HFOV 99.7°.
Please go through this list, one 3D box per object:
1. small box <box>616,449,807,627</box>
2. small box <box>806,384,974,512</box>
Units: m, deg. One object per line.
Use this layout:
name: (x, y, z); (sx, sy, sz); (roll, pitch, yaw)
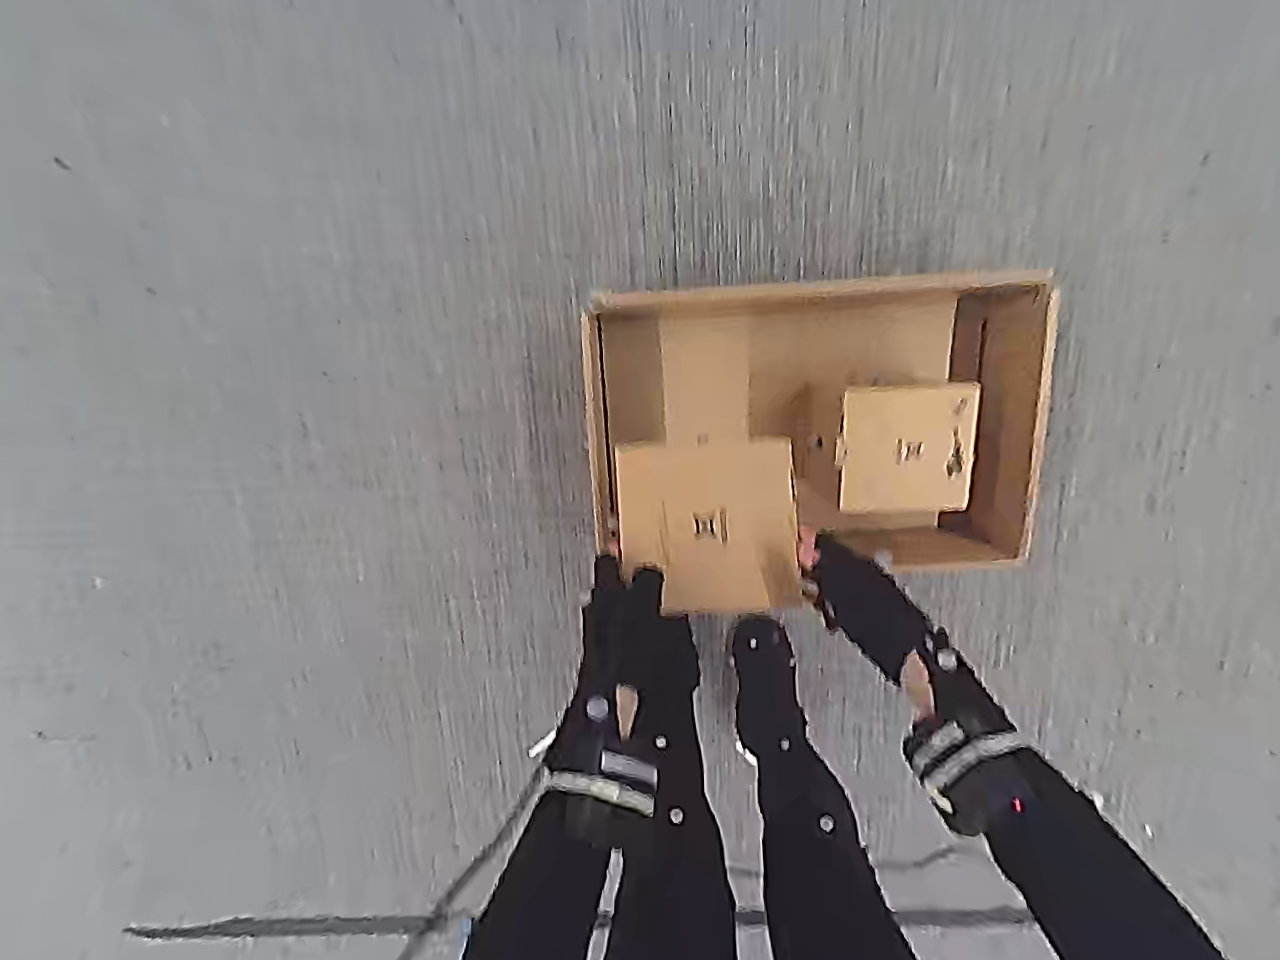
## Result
small box: (0.068, 0.063, 0.601); (0.179, 0.176, 0.168); (-4, 83, 0)
small box: (0.351, -0.053, 0.797); (0.179, 0.176, 0.168); (-2, 103, 3)
